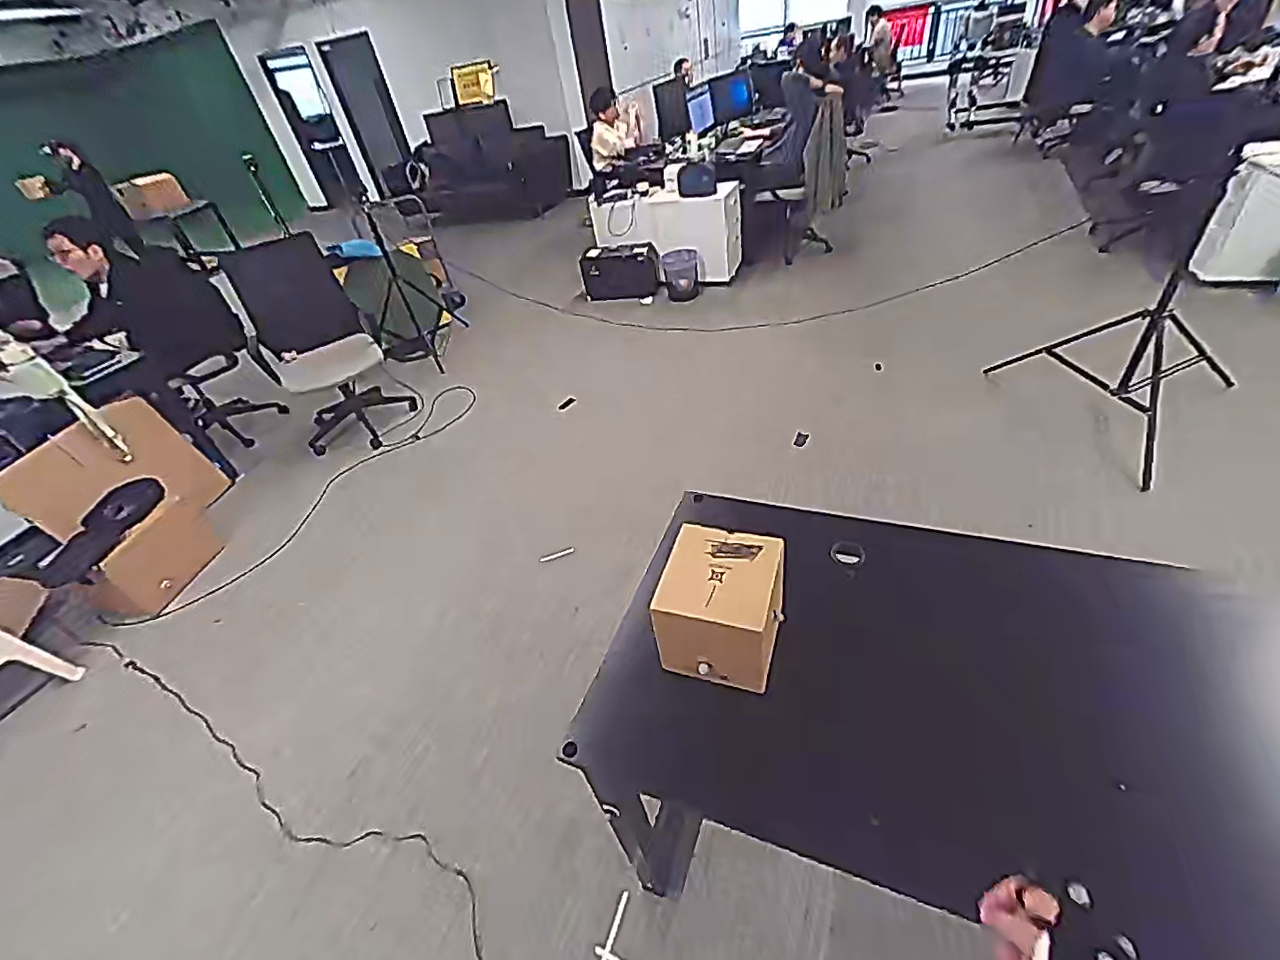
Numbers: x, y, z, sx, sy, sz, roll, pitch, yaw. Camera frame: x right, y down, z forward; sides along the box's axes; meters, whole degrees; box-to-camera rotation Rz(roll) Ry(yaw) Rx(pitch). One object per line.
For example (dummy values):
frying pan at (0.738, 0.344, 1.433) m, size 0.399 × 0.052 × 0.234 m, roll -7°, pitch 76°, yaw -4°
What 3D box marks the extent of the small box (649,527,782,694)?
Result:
small box at (0.126, 0.205, 0.862) m, size 0.168 × 0.176 × 0.179 m, roll 7°, pitch 44°, yaw 21°
